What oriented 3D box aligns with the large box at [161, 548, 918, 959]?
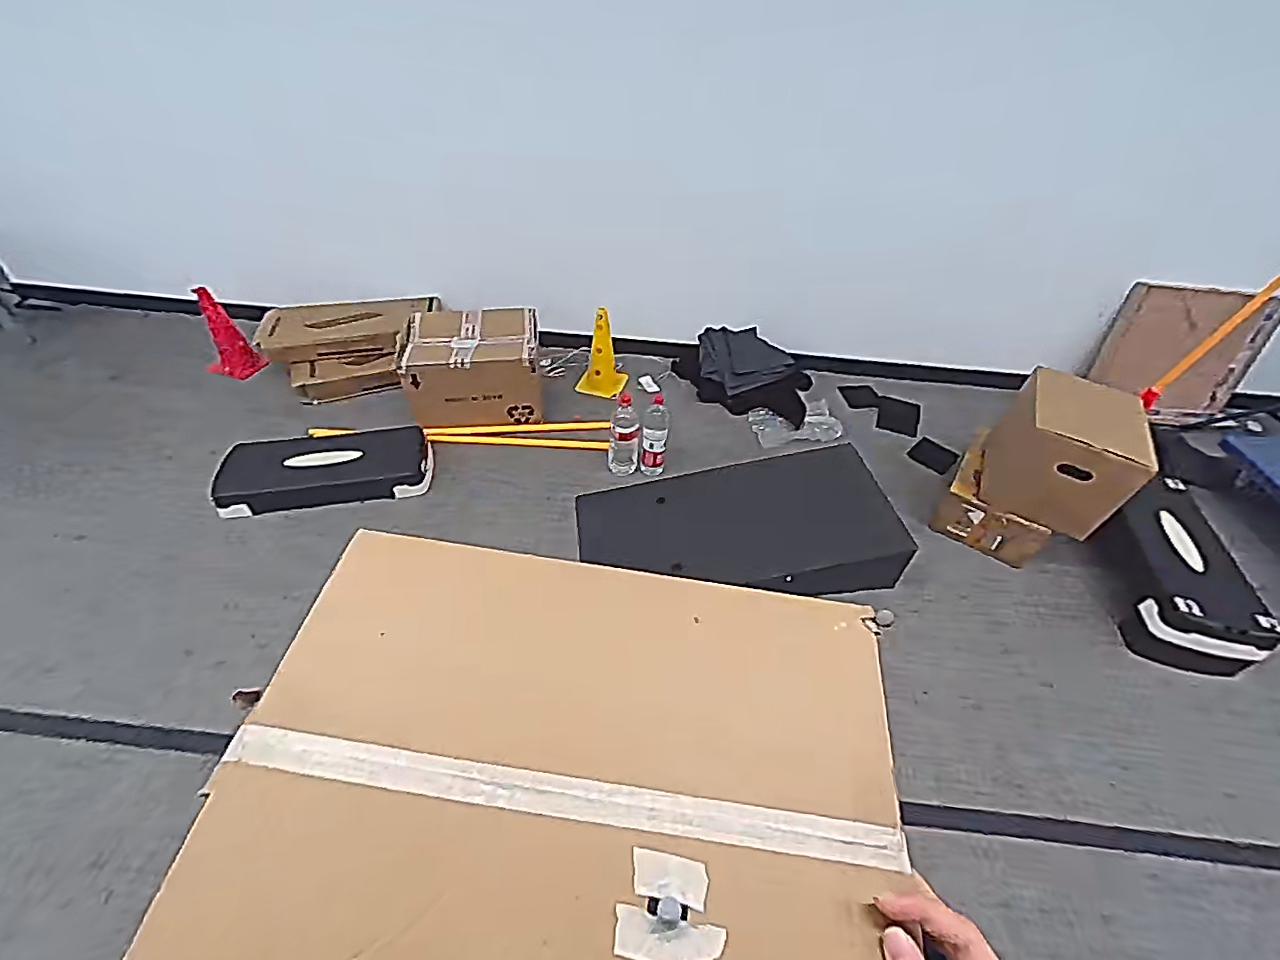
[{"bbox_3d":[-0.048,0.289,0.449,0.408,0.320,0.320,9,53,1],"label":"large box"}]
